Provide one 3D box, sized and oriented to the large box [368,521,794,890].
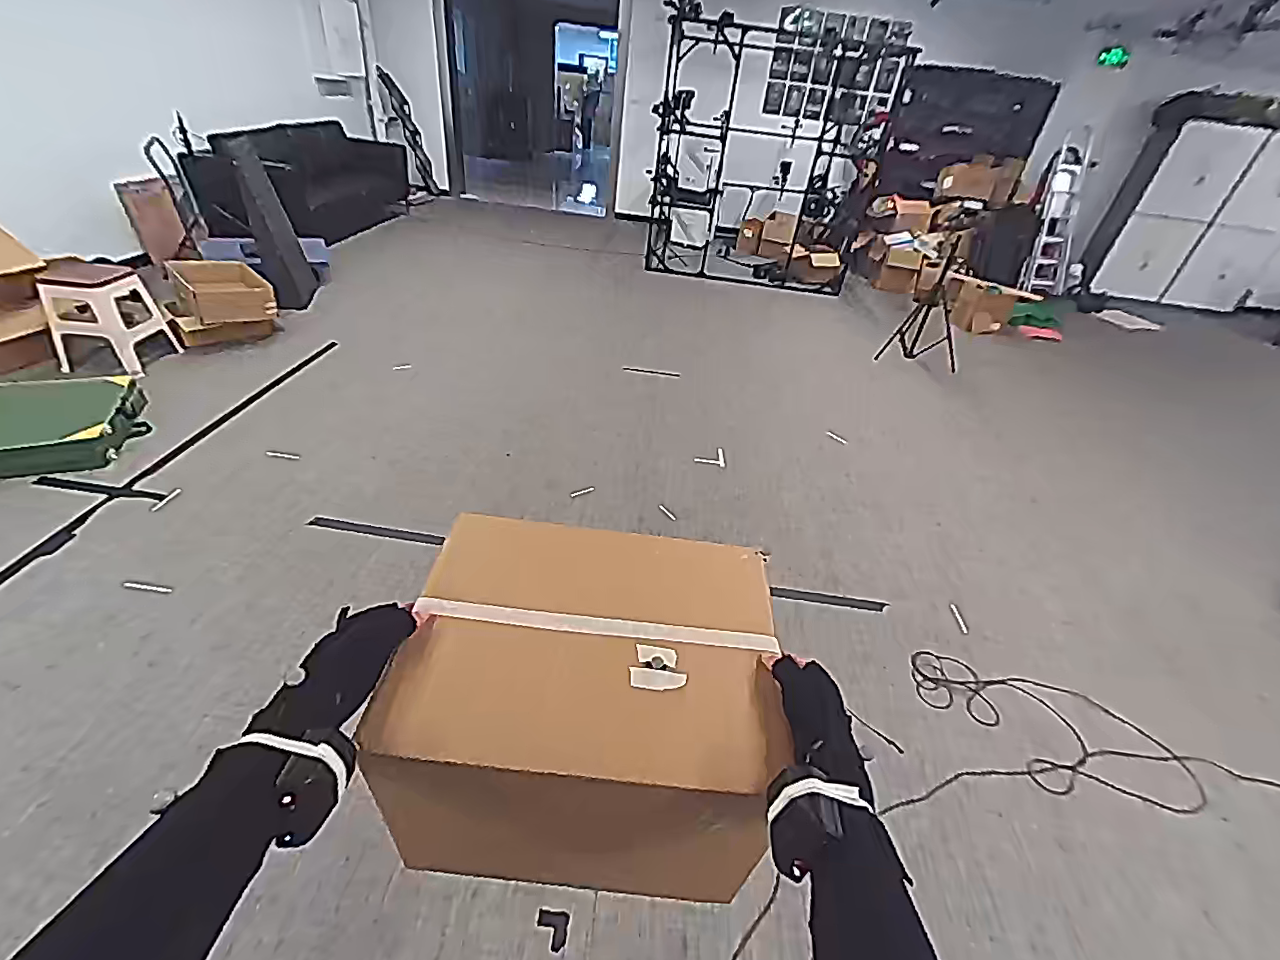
[{"bbox_3d":[-0.064,0.286,0.700,0.408,0.320,0.320,7,38,-2],"label":"large box"}]
